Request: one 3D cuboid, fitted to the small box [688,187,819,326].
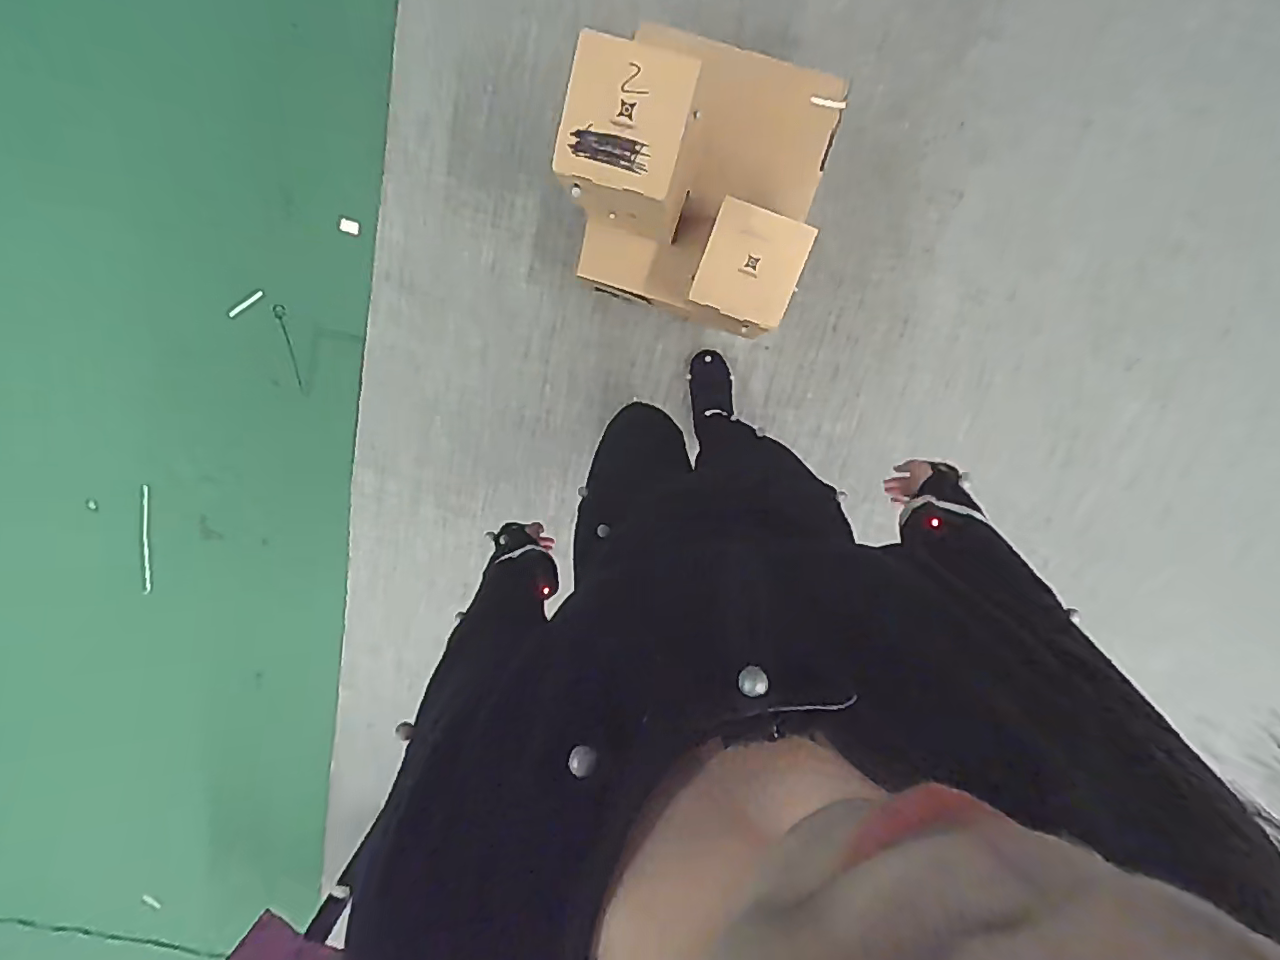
[{"bbox_3d":[0.193,-0.387,0.972,0.168,0.176,0.179,20,105,-2],"label":"small box"}]

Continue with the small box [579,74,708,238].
[{"bbox_3d":[0.009,-0.551,0.946,0.168,0.176,0.179,20,104,1],"label":"small box"}]
